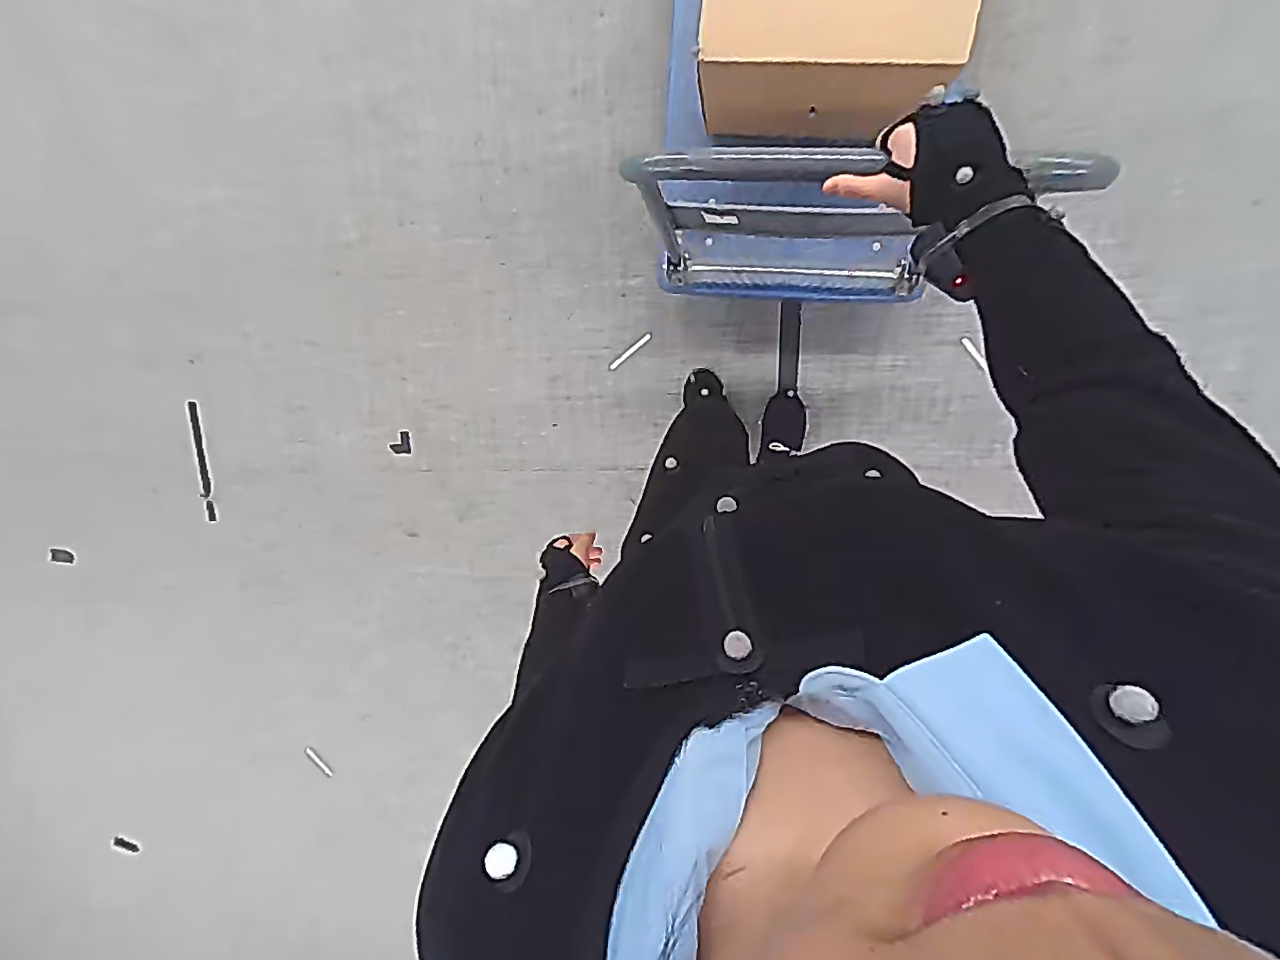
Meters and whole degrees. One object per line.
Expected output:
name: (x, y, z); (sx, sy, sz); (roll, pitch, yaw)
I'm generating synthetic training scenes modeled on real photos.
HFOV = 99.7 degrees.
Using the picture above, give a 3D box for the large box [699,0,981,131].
large box: (0.327, -0.822, 0.921); (0.408, 0.320, 0.320); (7, 104, 10)
